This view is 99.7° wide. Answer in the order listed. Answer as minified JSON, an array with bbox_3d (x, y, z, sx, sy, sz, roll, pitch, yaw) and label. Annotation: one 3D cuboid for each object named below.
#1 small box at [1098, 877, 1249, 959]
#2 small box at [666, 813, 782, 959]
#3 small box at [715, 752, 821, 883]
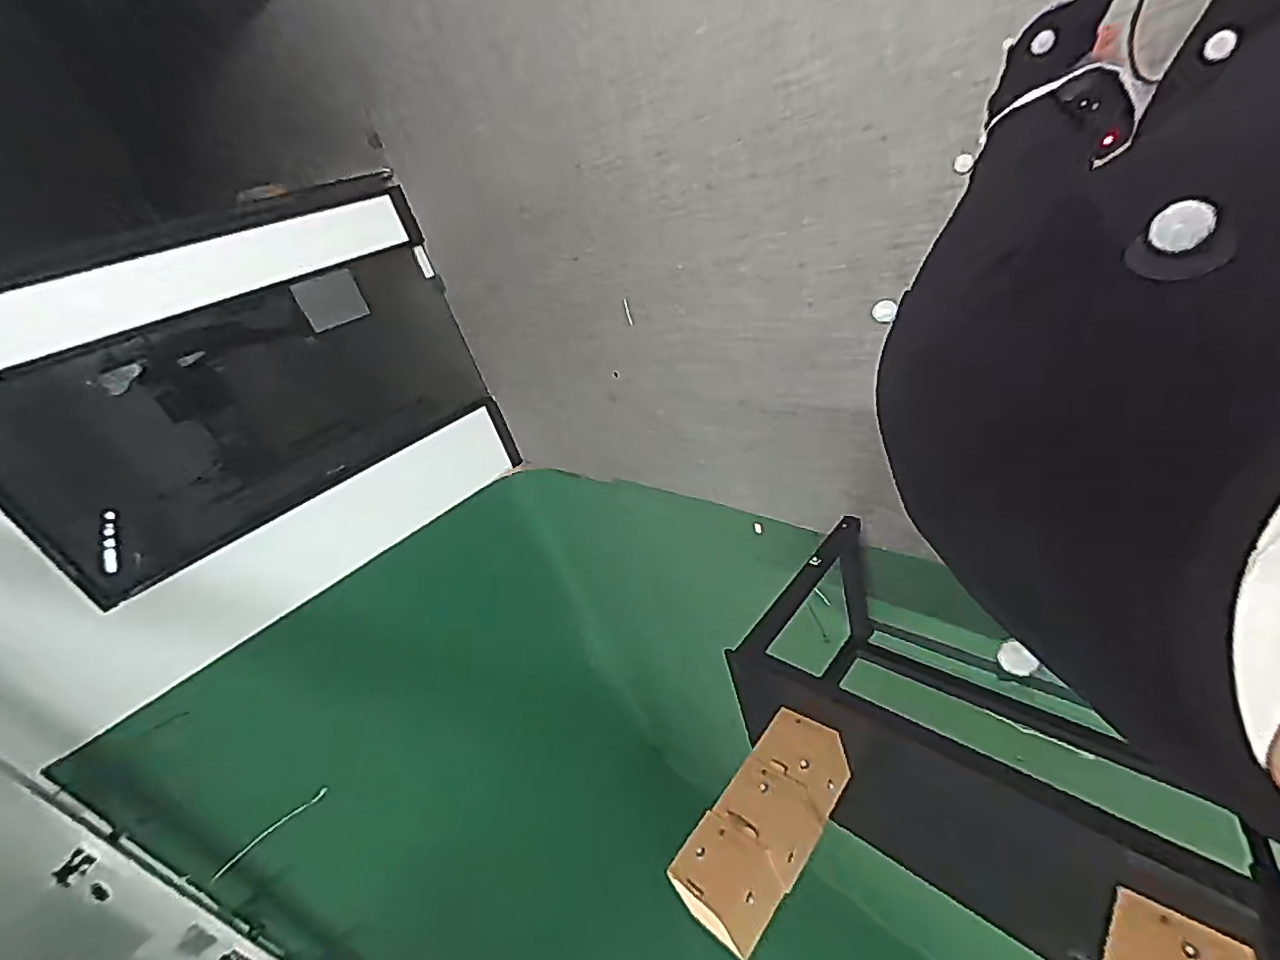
[{"bbox_3d":[0.912,0.845,0.926,0.168,0.176,0.179,5,125,50],"label":"small box"},{"bbox_3d":[0.194,0.908,1.226,0.168,0.176,0.179,5,127,49],"label":"small box"},{"bbox_3d":[0.317,0.812,1.317,0.168,0.176,0.179,5,126,48],"label":"small box"}]
